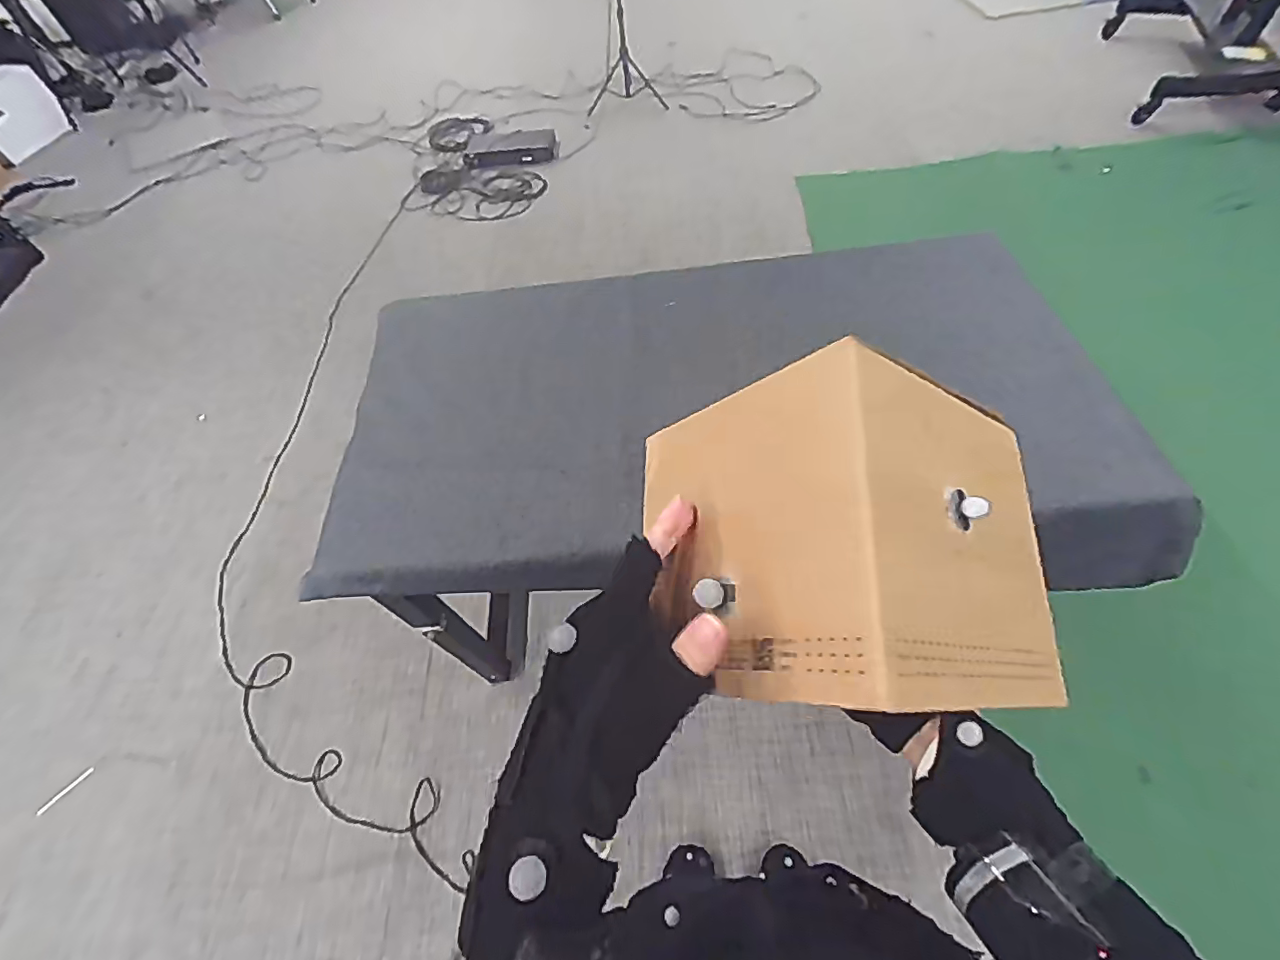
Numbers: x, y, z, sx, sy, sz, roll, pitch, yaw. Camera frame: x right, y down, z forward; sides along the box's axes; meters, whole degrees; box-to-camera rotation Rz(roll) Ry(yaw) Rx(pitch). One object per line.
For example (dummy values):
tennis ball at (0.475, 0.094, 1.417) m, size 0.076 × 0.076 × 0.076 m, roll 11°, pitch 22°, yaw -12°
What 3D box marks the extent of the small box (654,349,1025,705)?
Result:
small box at (0.121, 0.048, 0.355) m, size 0.179 × 0.168 × 0.176 m, roll 14°, pitch 67°, yaw -33°
